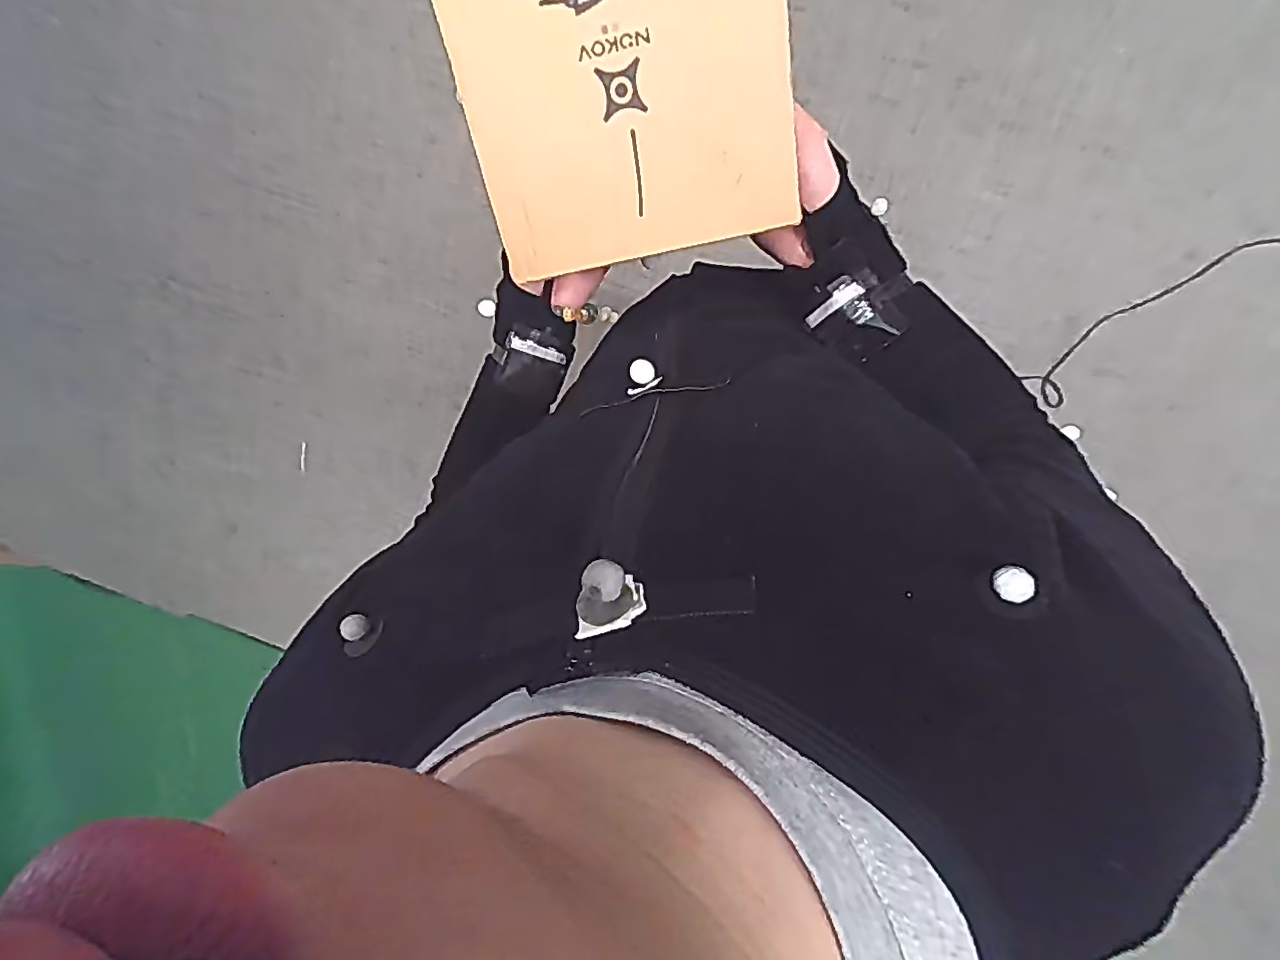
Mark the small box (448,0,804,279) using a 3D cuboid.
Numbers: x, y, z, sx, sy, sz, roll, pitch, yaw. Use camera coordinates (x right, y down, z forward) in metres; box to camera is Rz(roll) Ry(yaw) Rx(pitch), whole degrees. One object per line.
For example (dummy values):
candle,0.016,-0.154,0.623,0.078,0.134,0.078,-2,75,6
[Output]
small box,-0.002,-0.240,0.341,0.168,0.176,0.179,-9,117,7
